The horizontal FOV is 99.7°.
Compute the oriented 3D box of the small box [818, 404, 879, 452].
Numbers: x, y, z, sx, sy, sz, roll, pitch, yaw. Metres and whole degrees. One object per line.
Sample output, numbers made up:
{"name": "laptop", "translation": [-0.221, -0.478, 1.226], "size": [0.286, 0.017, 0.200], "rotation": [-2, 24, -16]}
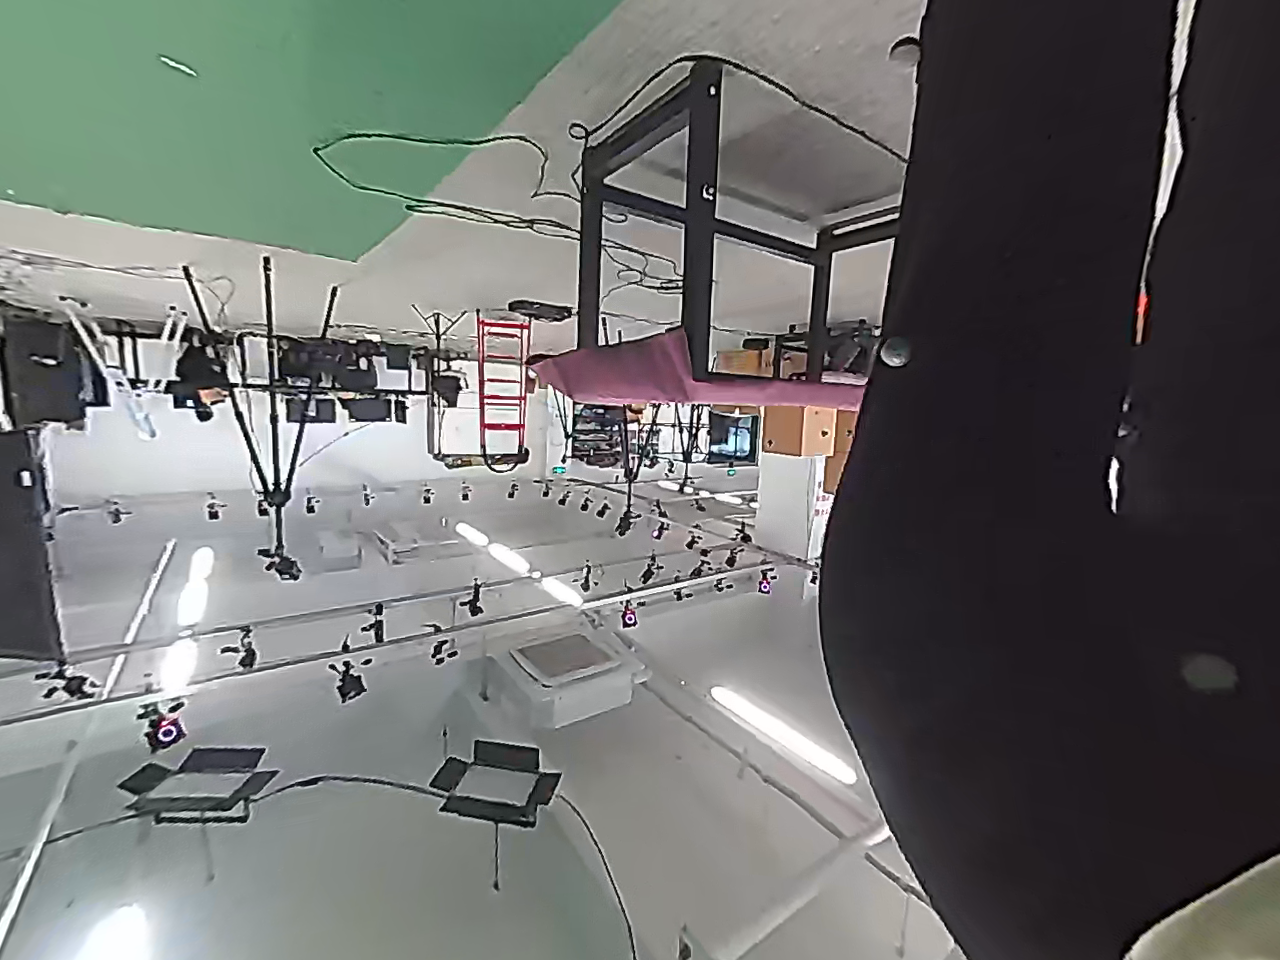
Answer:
{"name": "small box", "translation": [0.772, -0.194, 2.029], "size": [0.168, 0.176, 0.179], "rotation": [-4, -171, -35]}

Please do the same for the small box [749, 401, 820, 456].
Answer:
{"name": "small box", "translation": [0.484, -0.176, 1.813], "size": [0.168, 0.176, 0.179], "rotation": [-5, -170, -36]}
